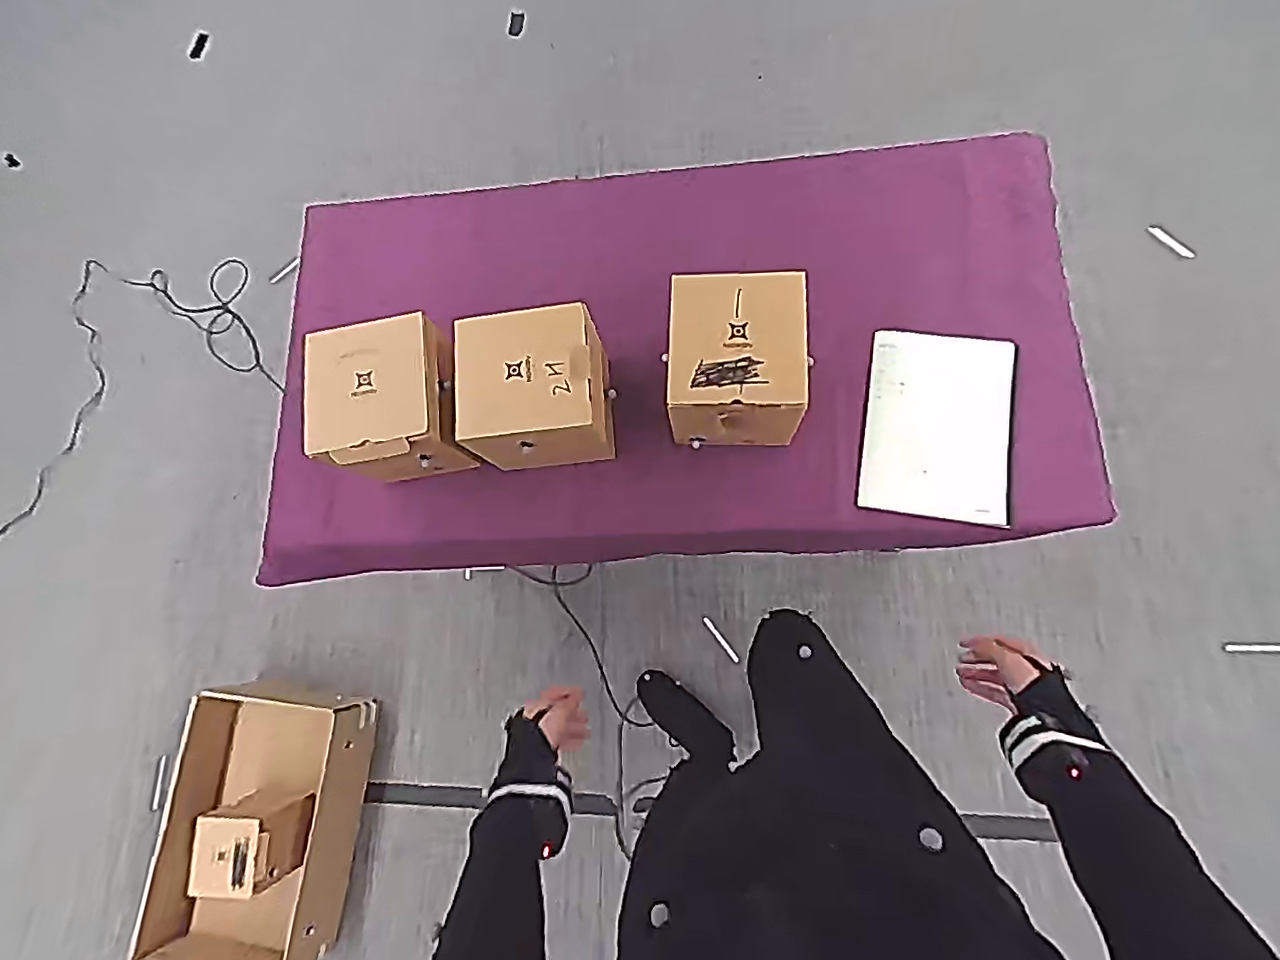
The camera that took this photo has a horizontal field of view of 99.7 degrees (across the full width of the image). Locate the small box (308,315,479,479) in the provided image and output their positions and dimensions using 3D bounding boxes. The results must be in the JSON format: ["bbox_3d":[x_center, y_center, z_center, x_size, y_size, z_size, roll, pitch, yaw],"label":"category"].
[{"bbox_3d":[-0.343,-0.106,0.777,0.168,0.176,0.179,-10,77,4],"label":"small box"}]

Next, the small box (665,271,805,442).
[{"bbox_3d":[0.125,-0.154,0.727,0.168,0.176,0.179,1,77,7],"label":"small box"}]
